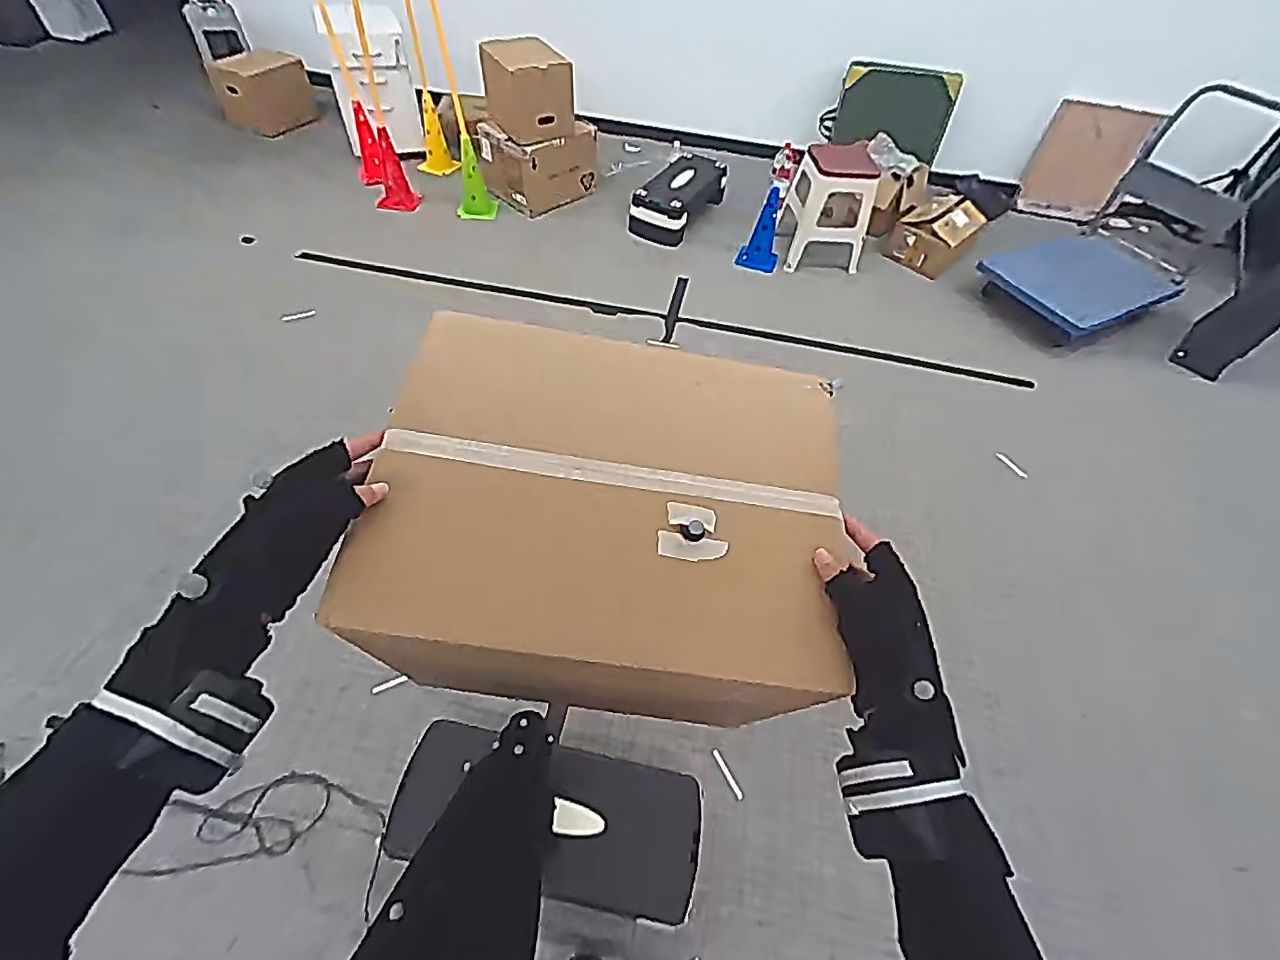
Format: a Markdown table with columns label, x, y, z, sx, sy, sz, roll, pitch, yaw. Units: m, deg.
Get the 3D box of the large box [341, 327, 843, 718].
| label | x | y | z | sx | sy | sz | roll | pitch | yaw |
| --- | --- | --- | --- | --- | --- | --- | --- | --- | --- |
| large box | -0.040 | 0.074 | 0.620 | 0.408 | 0.320 | 0.320 | 9 | 61 | -5 |
